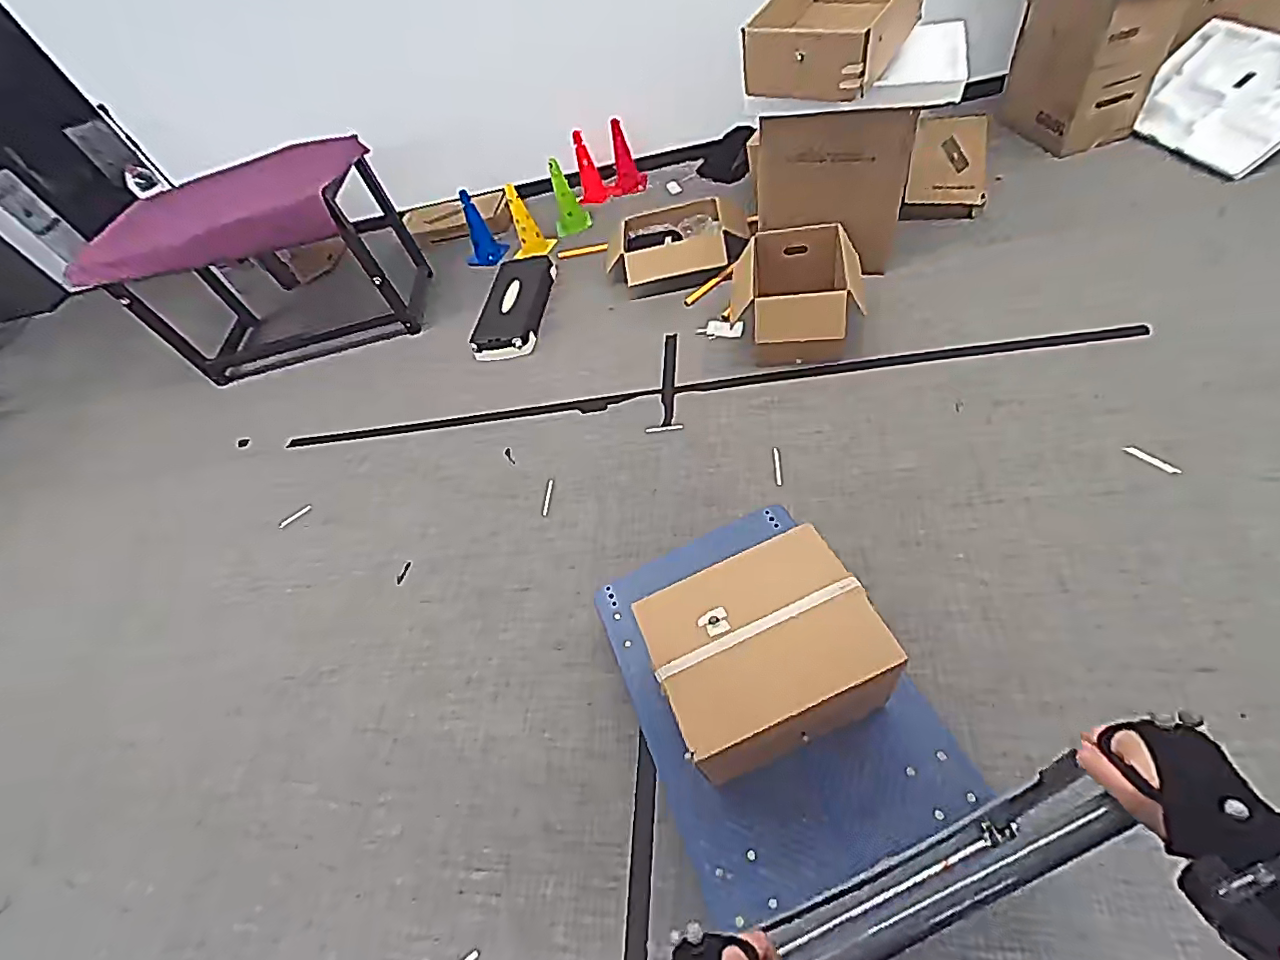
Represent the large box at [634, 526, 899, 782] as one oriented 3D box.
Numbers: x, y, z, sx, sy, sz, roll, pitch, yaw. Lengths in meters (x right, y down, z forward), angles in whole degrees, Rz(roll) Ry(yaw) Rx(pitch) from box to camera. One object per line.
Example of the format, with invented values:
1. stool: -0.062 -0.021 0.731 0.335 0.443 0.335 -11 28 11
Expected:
1. large box: 0.253 0.369 1.130 0.408 0.320 0.320 -25 51 -3
